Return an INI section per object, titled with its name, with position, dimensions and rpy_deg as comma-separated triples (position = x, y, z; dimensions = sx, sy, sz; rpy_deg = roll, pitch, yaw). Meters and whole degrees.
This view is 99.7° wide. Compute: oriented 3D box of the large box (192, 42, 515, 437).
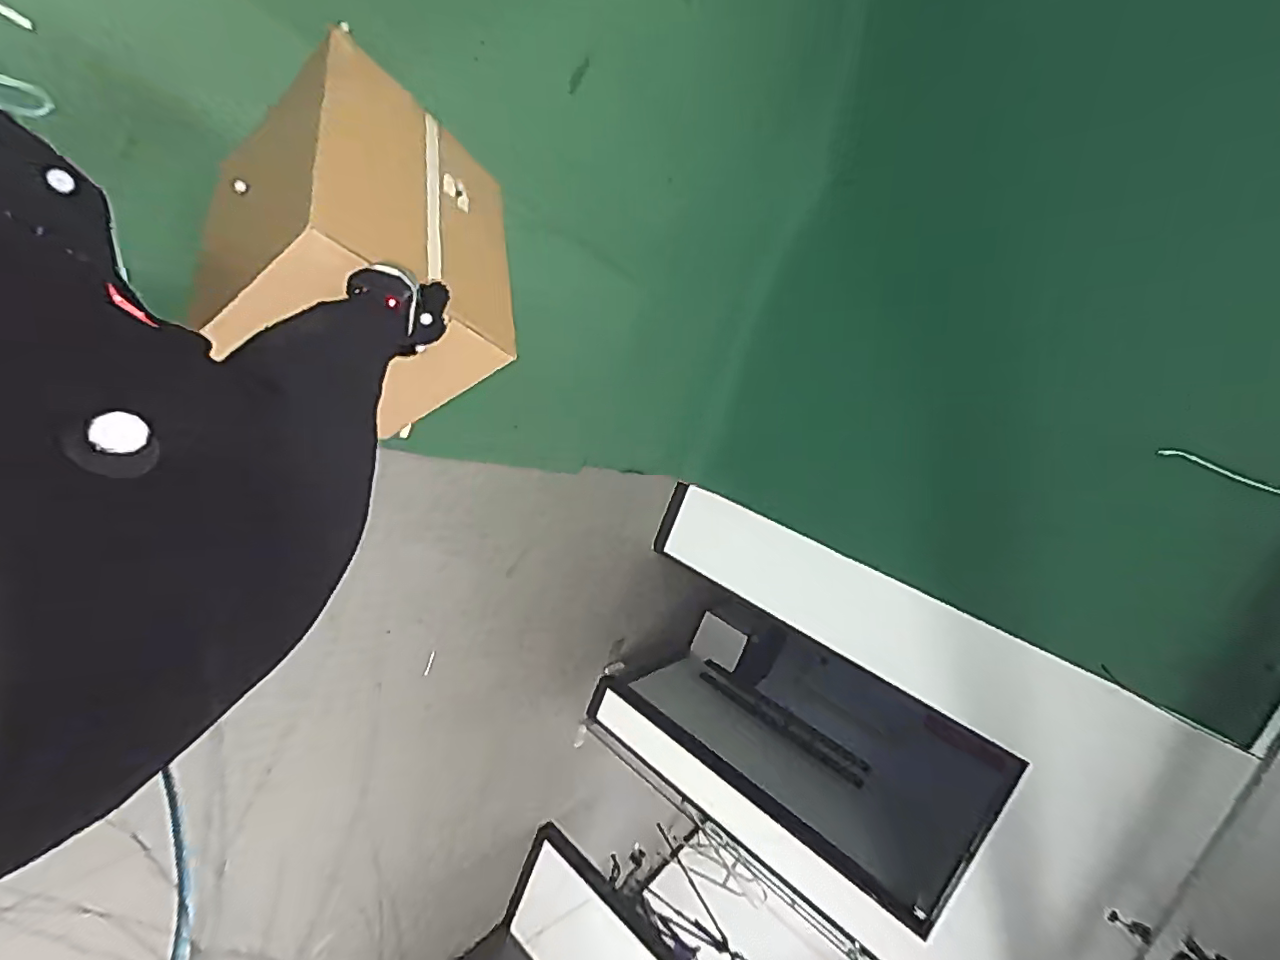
[large box]
position = -0.435, -0.339, 0.852
dimensions = 0.320, 0.408, 0.320
rpy_deg = -25, 152, 24
